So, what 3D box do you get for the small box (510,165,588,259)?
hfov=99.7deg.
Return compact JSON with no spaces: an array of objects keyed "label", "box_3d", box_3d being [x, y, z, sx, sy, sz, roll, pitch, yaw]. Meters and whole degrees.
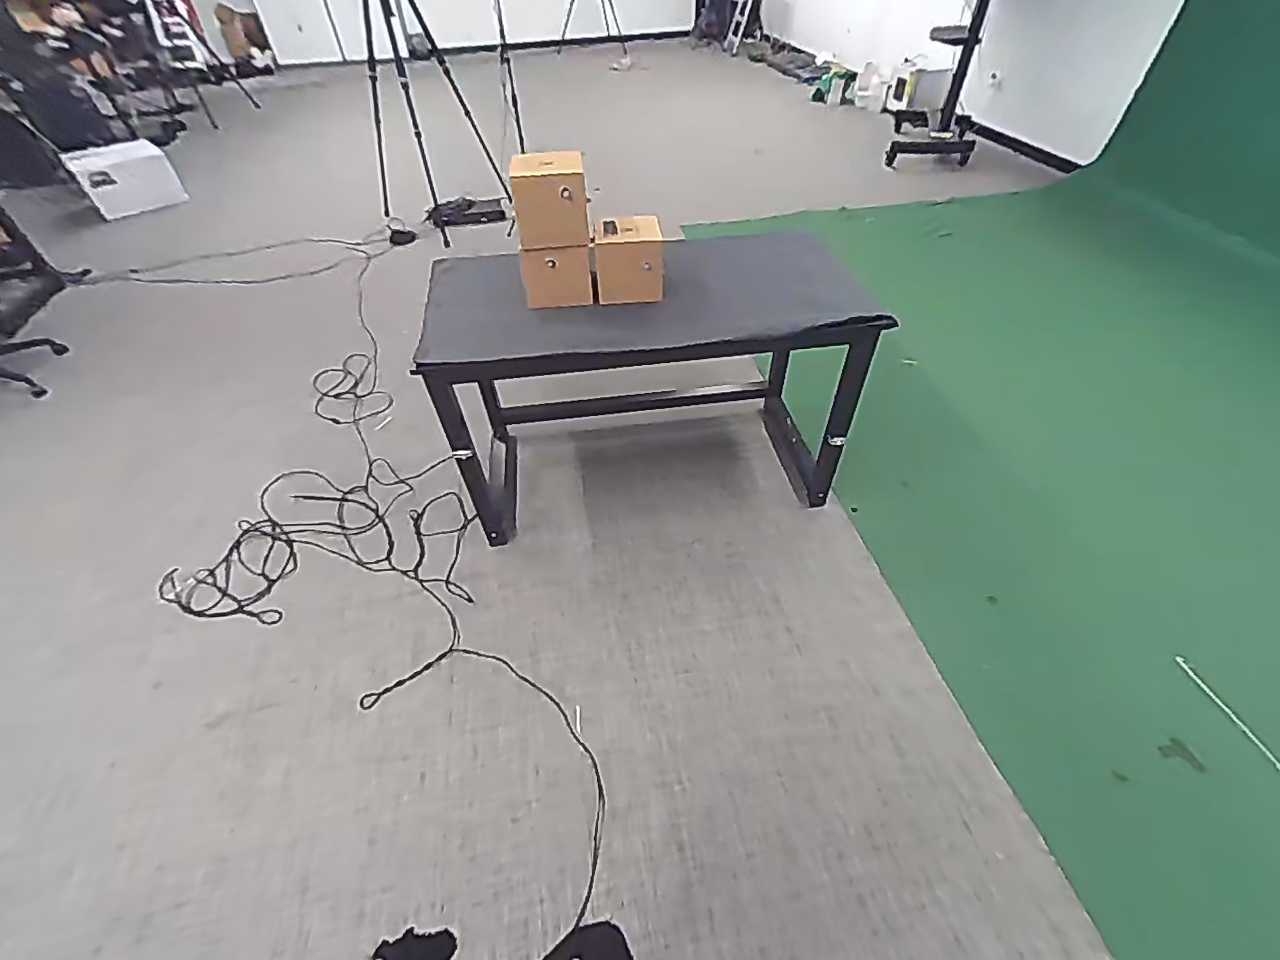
[{"label":"small box","box_3d":[-0.224,-0.677,1.370,0.179,0.176,0.168,-6,45,-5]}]
